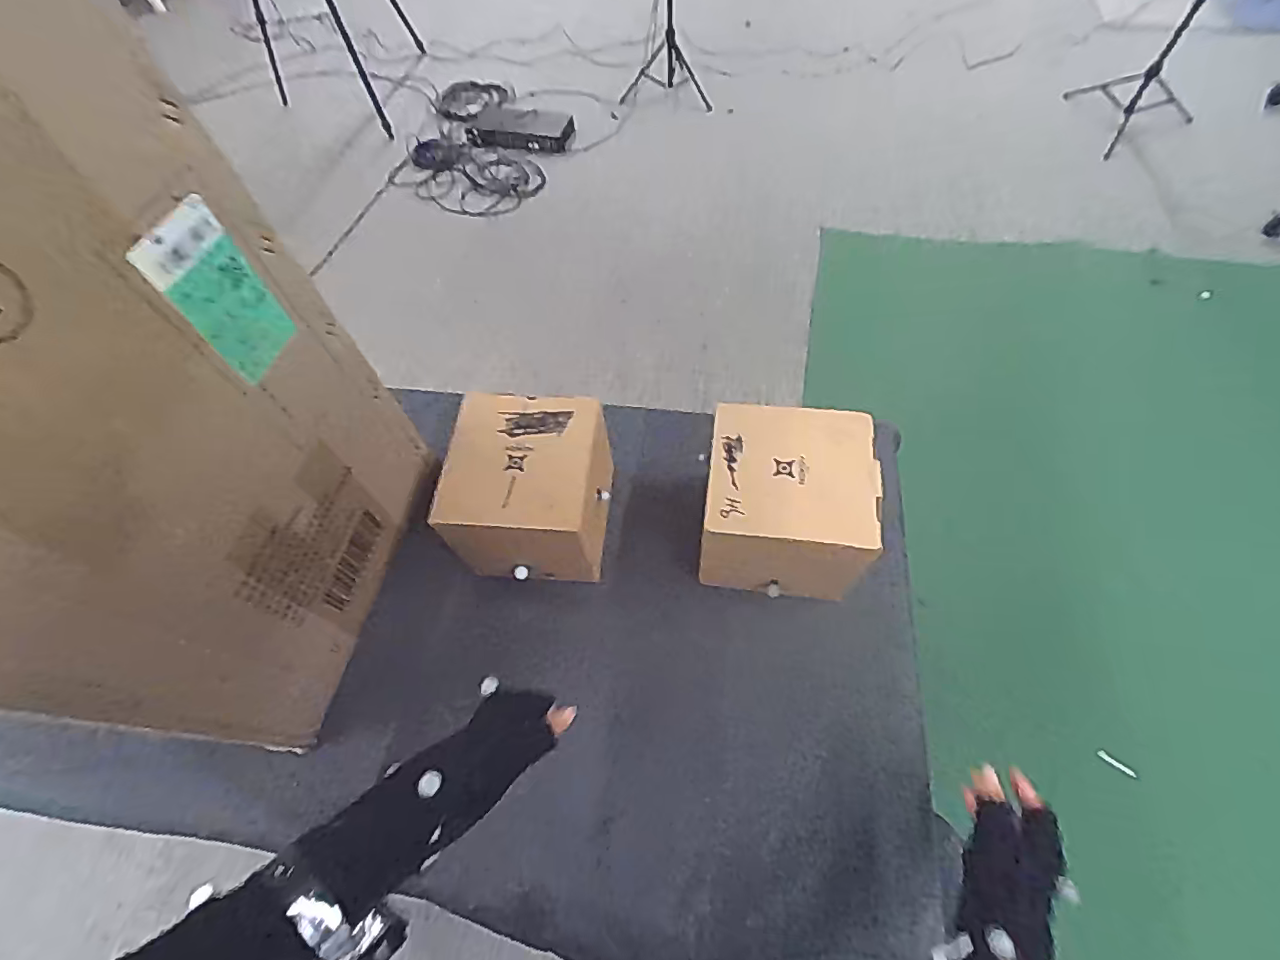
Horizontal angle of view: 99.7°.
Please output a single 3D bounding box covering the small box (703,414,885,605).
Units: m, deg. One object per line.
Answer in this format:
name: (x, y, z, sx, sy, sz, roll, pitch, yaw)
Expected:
small box: (0.174, 0.043, 0.654, 0.179, 0.176, 0.168, 6, 60, 7)
